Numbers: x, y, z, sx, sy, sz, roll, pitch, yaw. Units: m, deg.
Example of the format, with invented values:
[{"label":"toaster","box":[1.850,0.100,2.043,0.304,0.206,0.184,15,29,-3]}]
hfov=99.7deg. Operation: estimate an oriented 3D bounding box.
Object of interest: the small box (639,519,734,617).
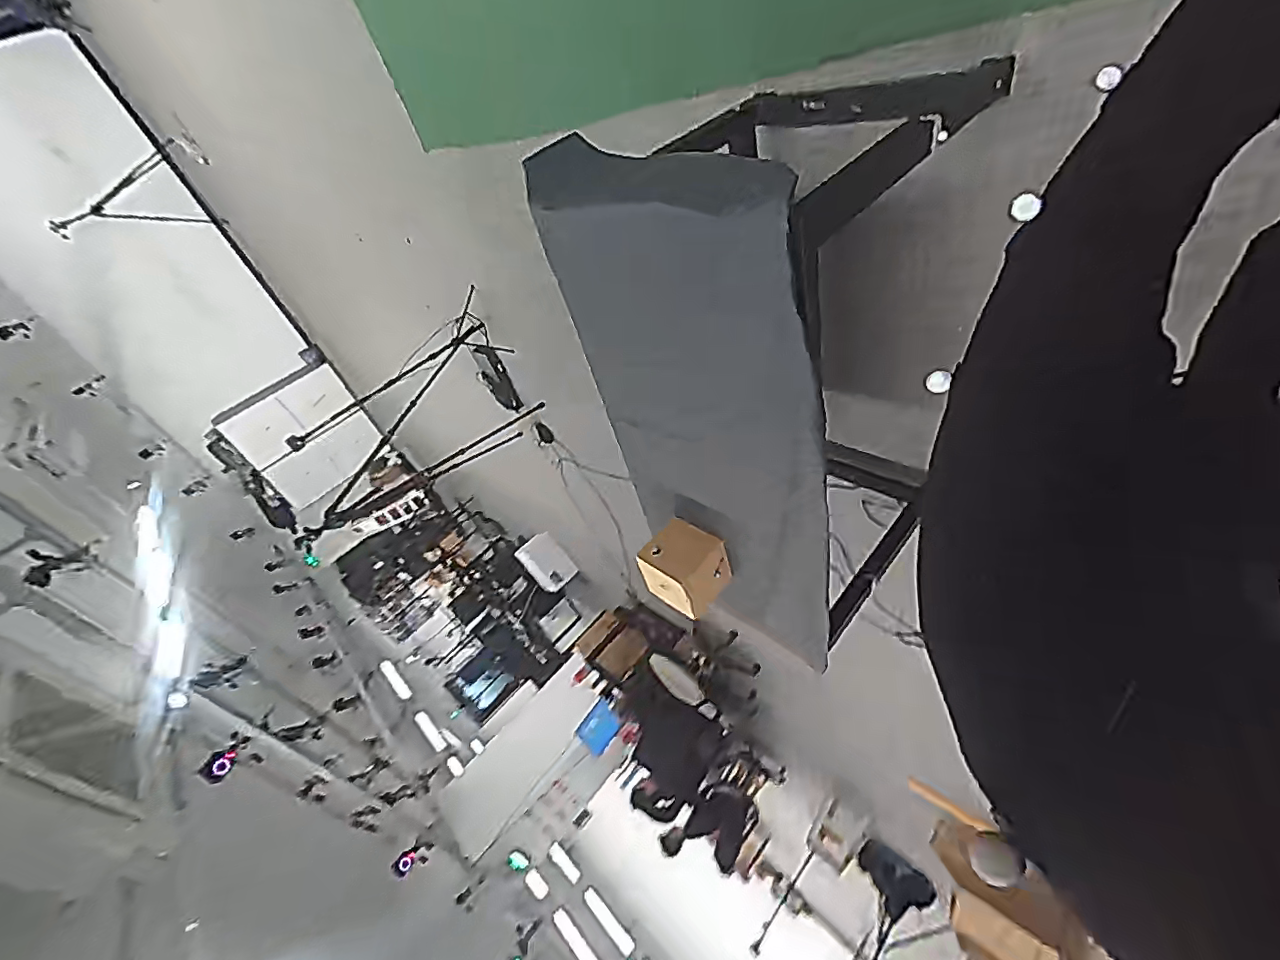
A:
[{"label":"small box","box":[0.129,0.232,1.472,0.179,0.176,0.168,25,148,40]}]
